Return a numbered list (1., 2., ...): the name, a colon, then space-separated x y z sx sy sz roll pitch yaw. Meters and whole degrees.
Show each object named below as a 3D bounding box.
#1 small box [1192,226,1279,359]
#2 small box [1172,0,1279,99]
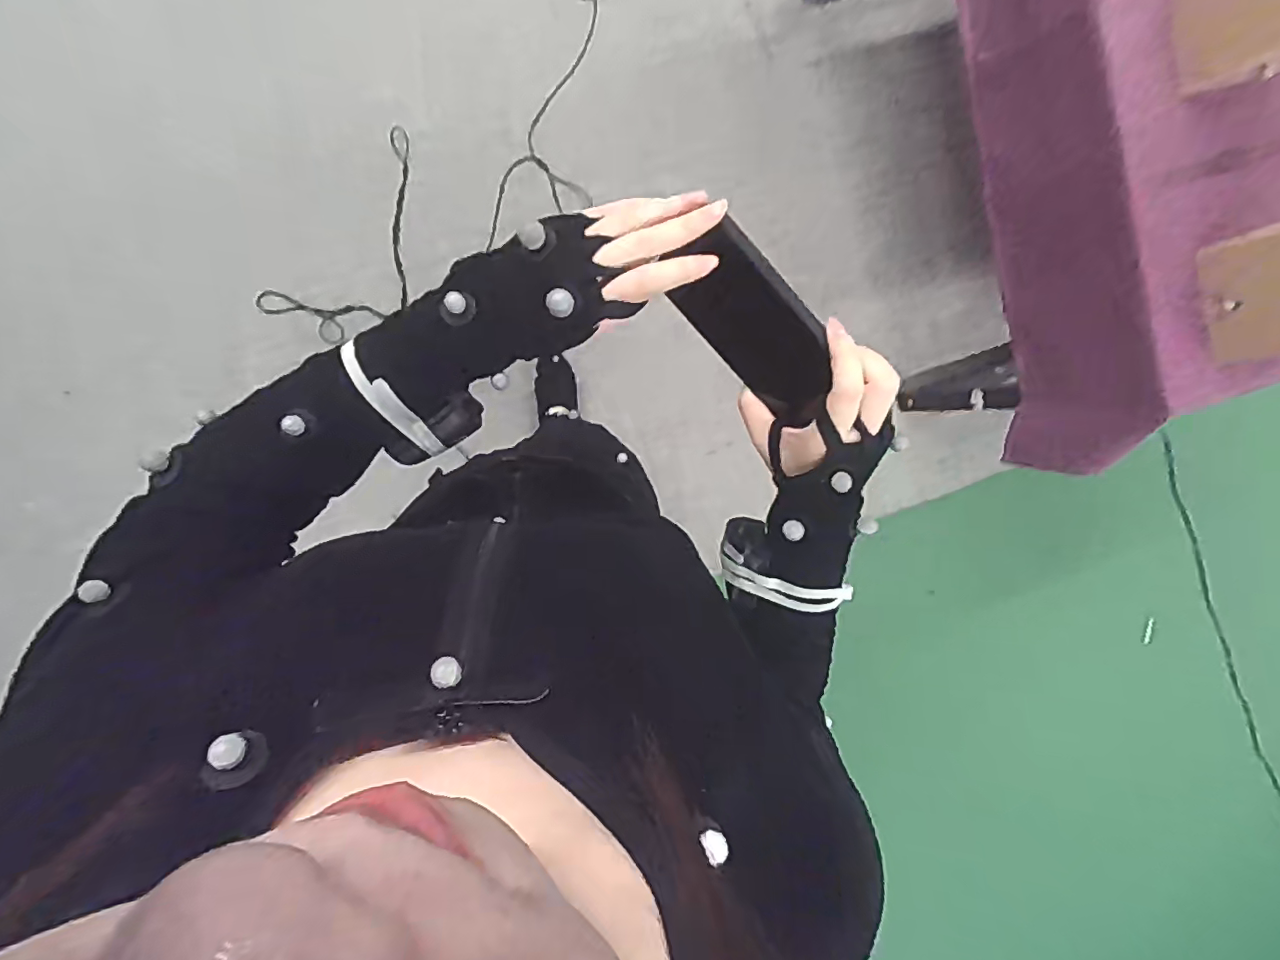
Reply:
1. small box: 0.956 -0.279 0.771 0.168 0.176 0.179 -19 99 -5
2. small box: 0.860 -0.653 0.714 0.168 0.176 0.179 -15 100 -5
